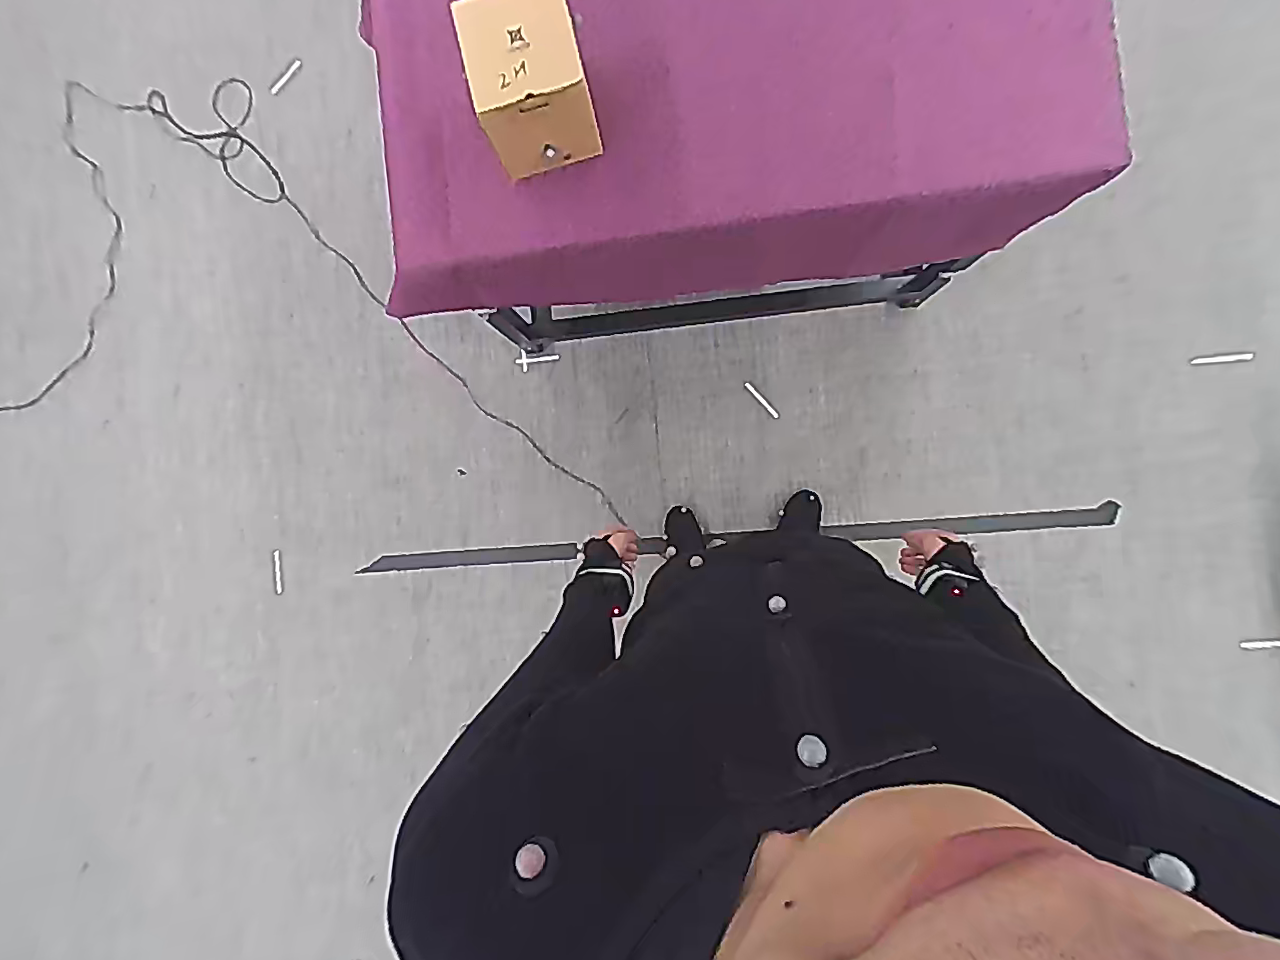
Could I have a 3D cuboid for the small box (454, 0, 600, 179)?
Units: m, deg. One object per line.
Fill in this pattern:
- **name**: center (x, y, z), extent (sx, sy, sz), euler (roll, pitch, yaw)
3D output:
- **small box**: center (-0.169, -0.624, 0.859), extent (0.168, 0.176, 0.179), euler (-14, 88, 5)
